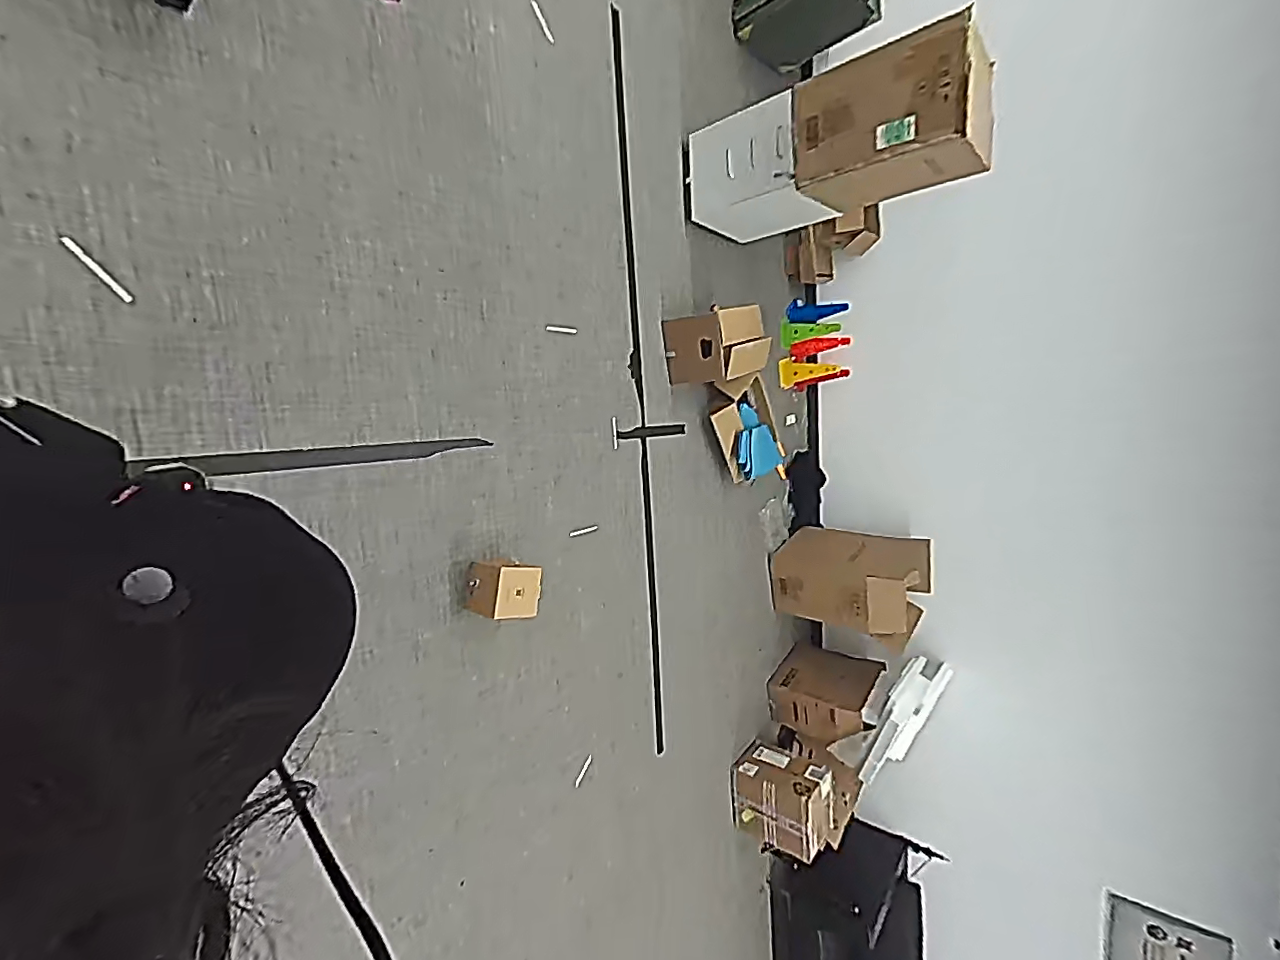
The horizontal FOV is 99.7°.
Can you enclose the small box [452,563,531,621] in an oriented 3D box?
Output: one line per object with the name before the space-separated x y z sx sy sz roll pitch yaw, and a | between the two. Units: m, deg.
small box | -0.493 0.369 1.799 0.179 0.176 0.168 13 81 -50
